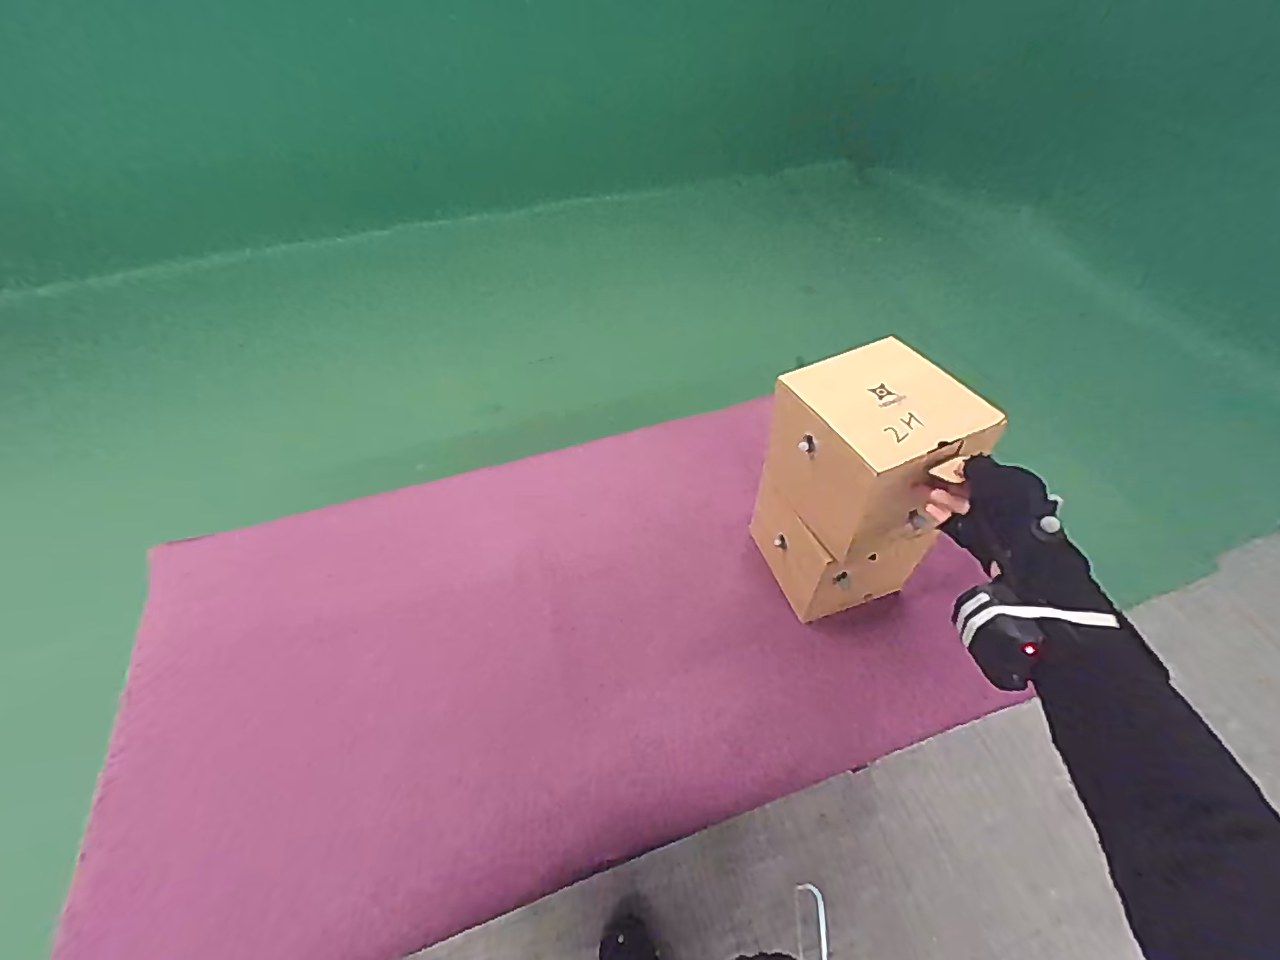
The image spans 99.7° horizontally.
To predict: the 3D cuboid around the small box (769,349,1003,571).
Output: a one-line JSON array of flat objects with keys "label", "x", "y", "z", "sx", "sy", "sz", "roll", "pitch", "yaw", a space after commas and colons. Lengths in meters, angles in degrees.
[{"label": "small box", "x": 0.272, "y": -0.024, "z": 0.649, "sx": 0.168, "sy": 0.176, "sz": 0.179, "roll": -21, "pitch": 50, "yaw": -12}]
